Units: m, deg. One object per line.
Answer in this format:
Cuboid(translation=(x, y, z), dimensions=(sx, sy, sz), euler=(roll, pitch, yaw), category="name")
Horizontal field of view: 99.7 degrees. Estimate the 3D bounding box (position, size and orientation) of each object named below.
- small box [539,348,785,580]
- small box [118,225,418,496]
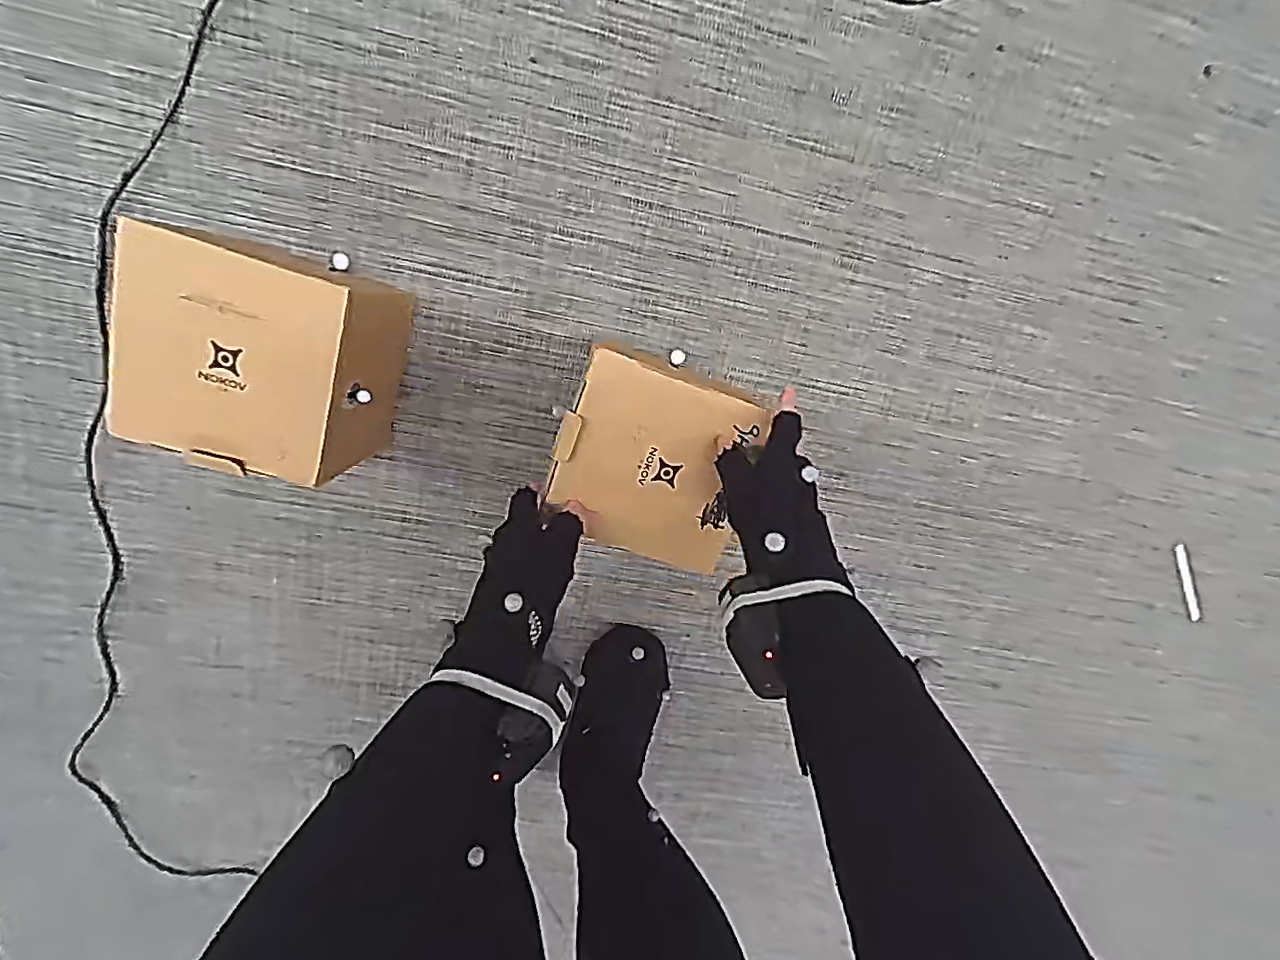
Cuboid(translation=(0.014, -0.028, 0.555), dimensions=(0.179, 0.176, 0.168), euler=(20, 106, -10), category="small box")
Cuboid(translation=(-0.328, -0.111, 0.509), dimensions=(0.168, 0.176, 0.179), euler=(17, 106, -9), category="small box")
